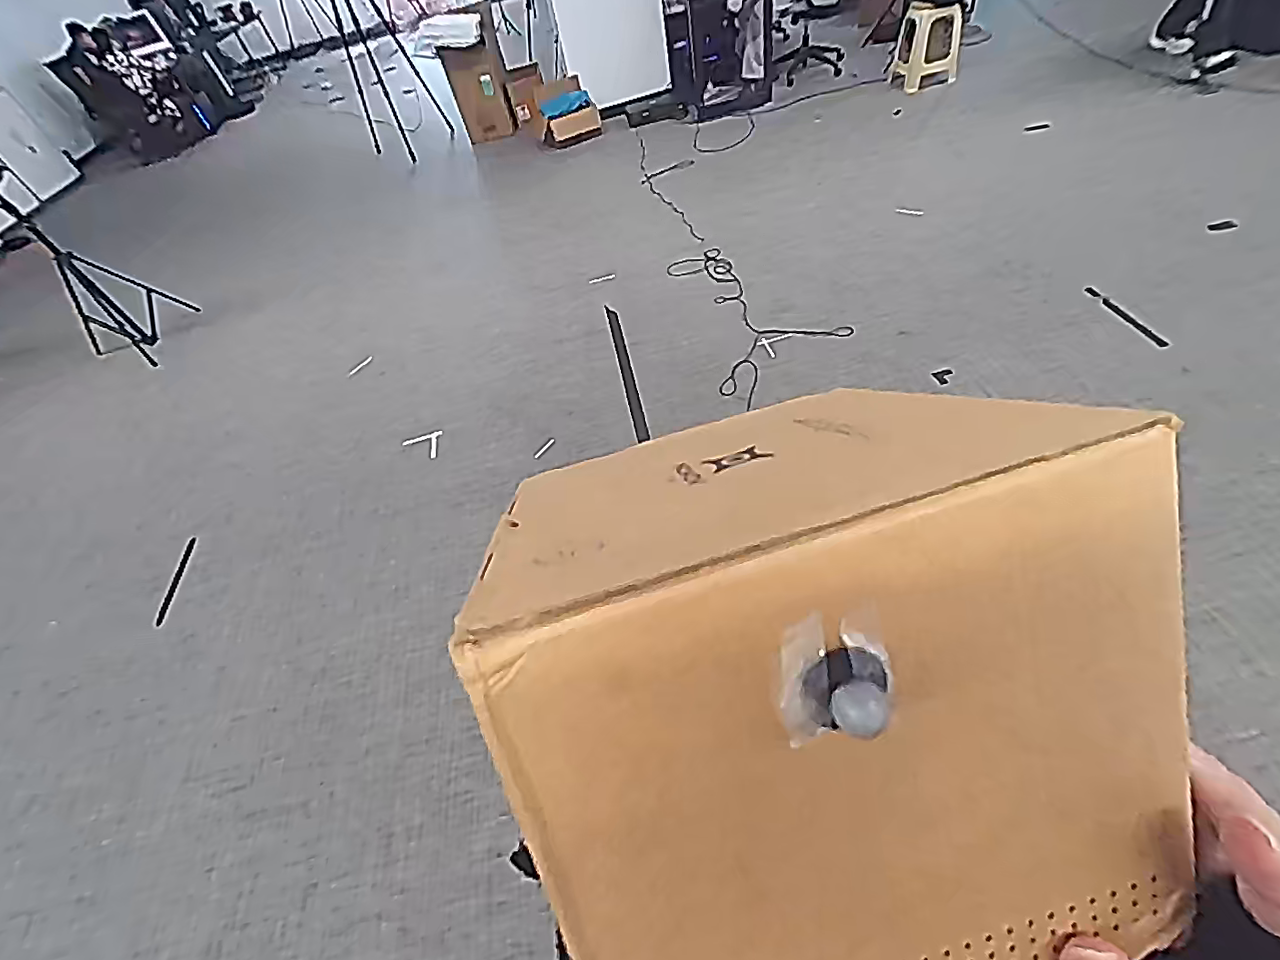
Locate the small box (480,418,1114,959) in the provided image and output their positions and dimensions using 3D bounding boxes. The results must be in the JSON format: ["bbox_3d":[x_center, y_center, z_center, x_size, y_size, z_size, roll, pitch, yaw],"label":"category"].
[{"bbox_3d":[0.055,0.083,0.234,0.179,0.176,0.168,-17,13,-3],"label":"small box"}]
